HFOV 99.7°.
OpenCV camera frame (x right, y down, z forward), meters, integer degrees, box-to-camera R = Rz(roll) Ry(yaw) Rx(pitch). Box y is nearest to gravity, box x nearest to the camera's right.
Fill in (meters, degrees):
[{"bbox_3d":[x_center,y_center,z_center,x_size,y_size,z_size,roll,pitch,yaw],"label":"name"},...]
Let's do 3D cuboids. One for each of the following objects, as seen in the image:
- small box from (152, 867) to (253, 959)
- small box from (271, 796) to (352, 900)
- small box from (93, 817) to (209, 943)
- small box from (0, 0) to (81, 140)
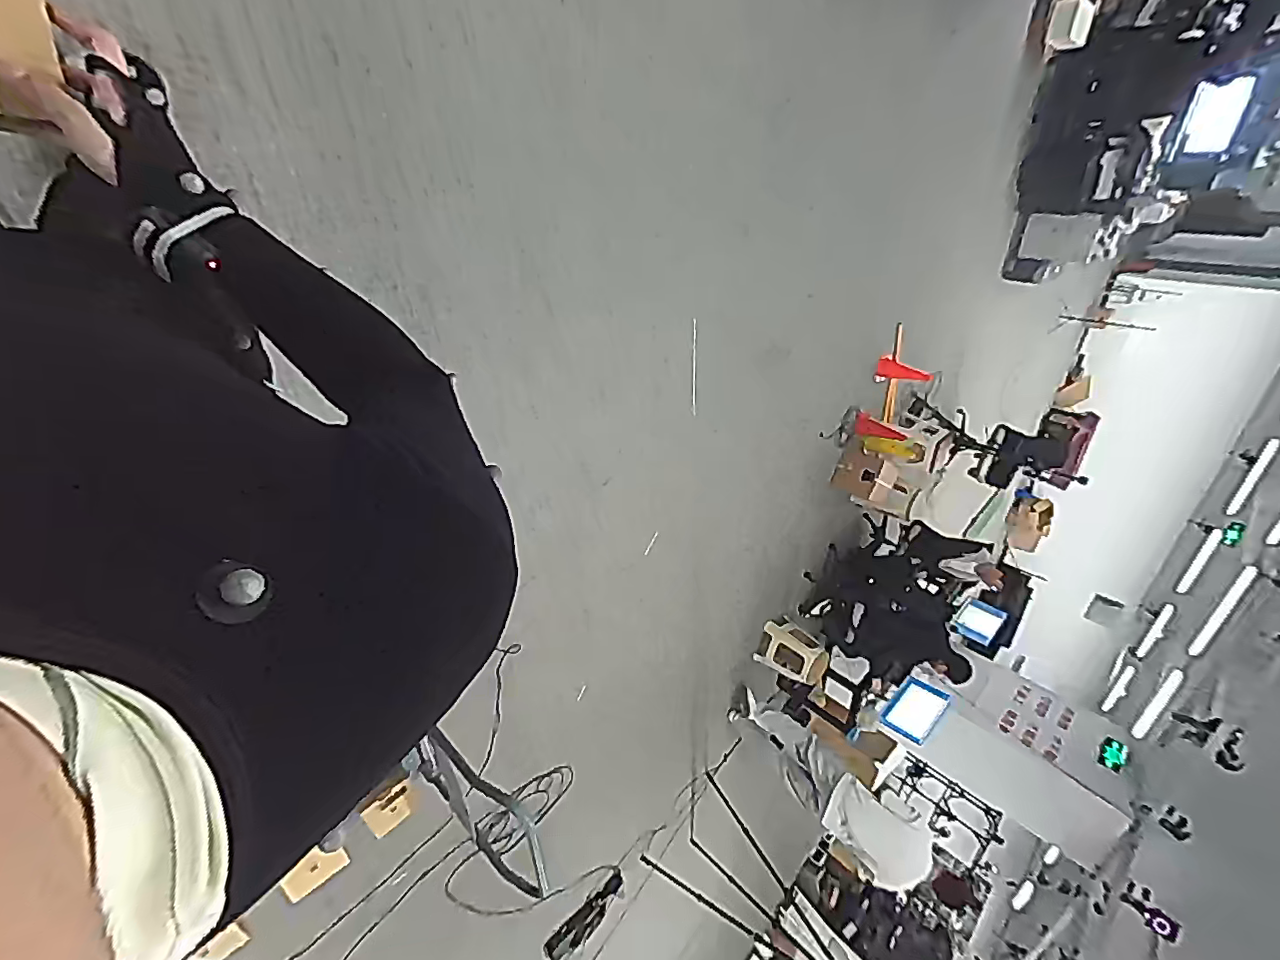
[{"bbox_3d":[-1.228,1.244,1.516,0.168,0.176,0.179,-29,130,-36],"label":"small box"},{"bbox_3d":[-1.029,1.135,1.680,0.168,0.176,0.179,-27,127,-36],"label":"small box"},{"bbox_3d":[-1.255,1.013,1.387,0.168,0.176,0.179,-28,130,-35],"label":"small box"},{"bbox_3d":[-0.570,-0.373,0.412,0.179,0.176,0.168,-15,120,-41],"label":"small box"}]
